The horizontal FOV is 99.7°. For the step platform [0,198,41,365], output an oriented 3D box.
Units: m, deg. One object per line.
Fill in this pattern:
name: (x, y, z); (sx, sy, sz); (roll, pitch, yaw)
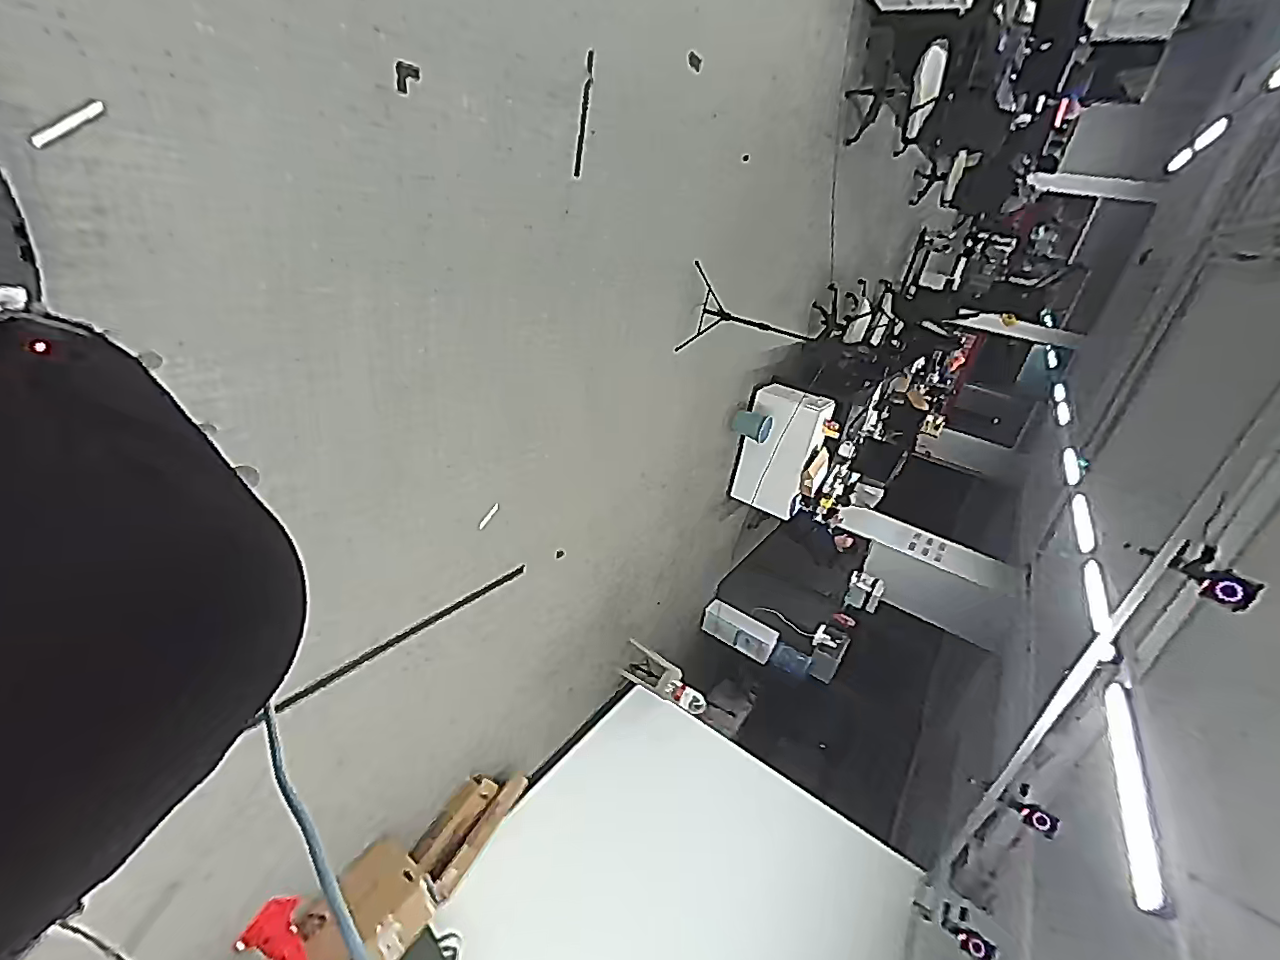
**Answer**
step platform: (-1.292, -0.298, 0.706); (0.684, 0.204, 0.286); (-19, 126, -53)
